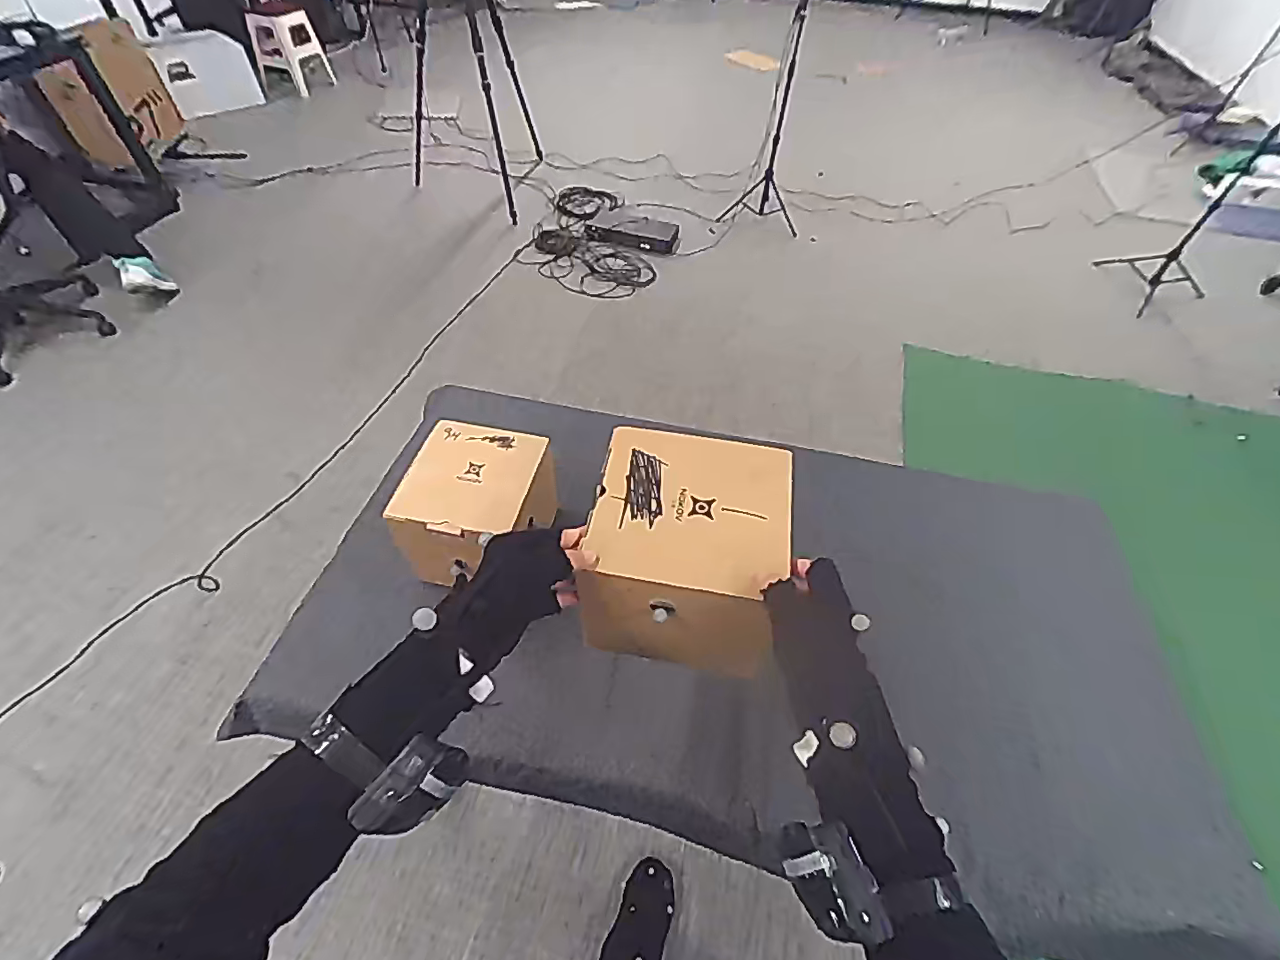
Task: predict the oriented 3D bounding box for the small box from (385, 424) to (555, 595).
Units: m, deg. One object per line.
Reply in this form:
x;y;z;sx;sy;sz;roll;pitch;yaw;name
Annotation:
-0.228;0.047;0.785;0.168;0.176;0.179;10;52;5;small box

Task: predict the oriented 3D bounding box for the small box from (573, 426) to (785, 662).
0.042;0.069;0.552;0.179;0.176;0.168;8;52;6;small box
